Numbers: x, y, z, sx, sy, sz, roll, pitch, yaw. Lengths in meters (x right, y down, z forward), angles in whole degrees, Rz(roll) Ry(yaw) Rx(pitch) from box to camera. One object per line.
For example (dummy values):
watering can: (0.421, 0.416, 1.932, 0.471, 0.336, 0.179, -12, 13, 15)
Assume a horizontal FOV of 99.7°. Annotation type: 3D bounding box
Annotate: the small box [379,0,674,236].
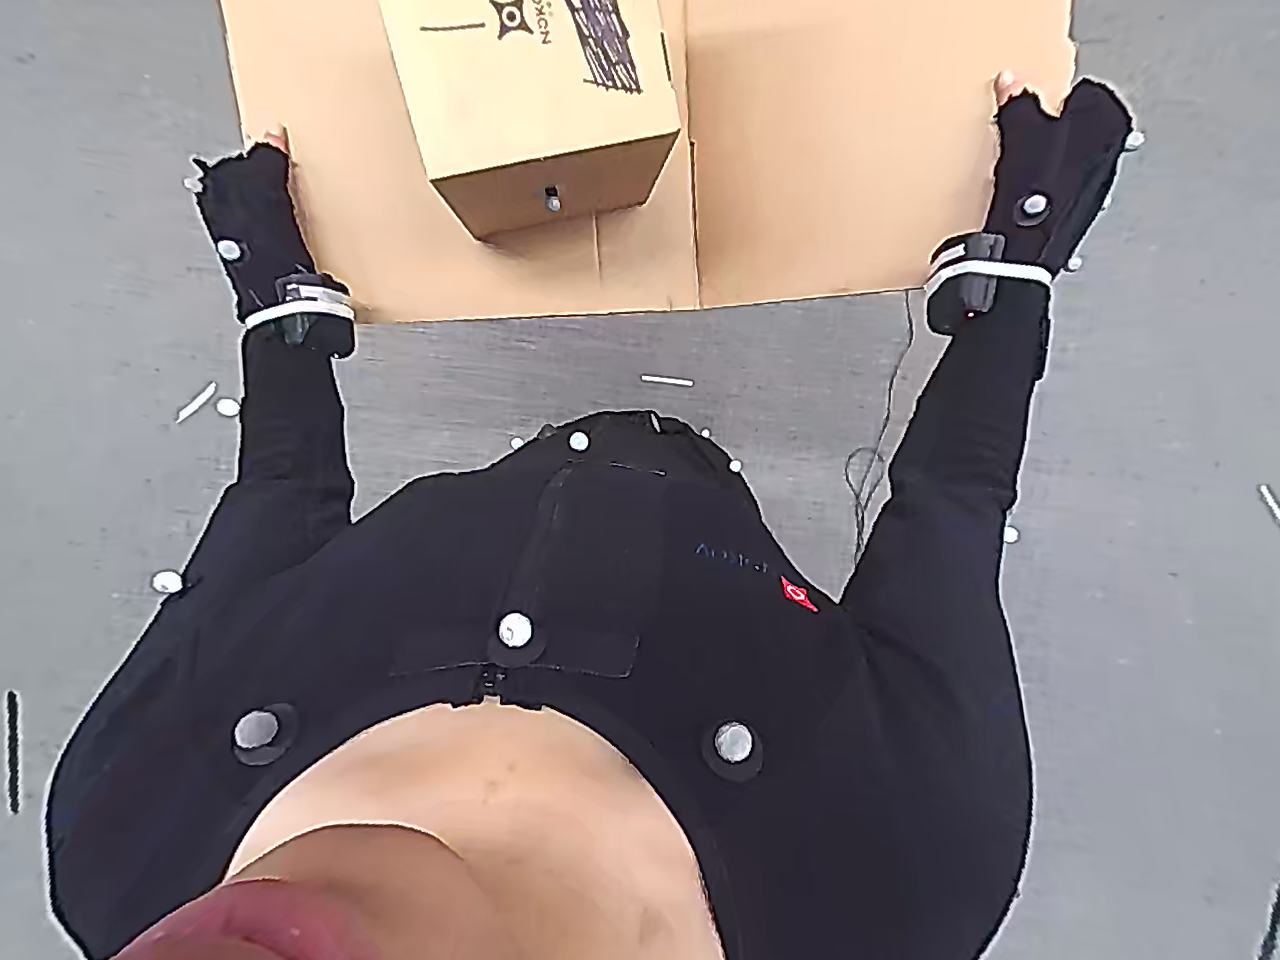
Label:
small box: (-0.086, -0.313, 0.433, 0.179, 0.176, 0.168, -14, 103, -4)
